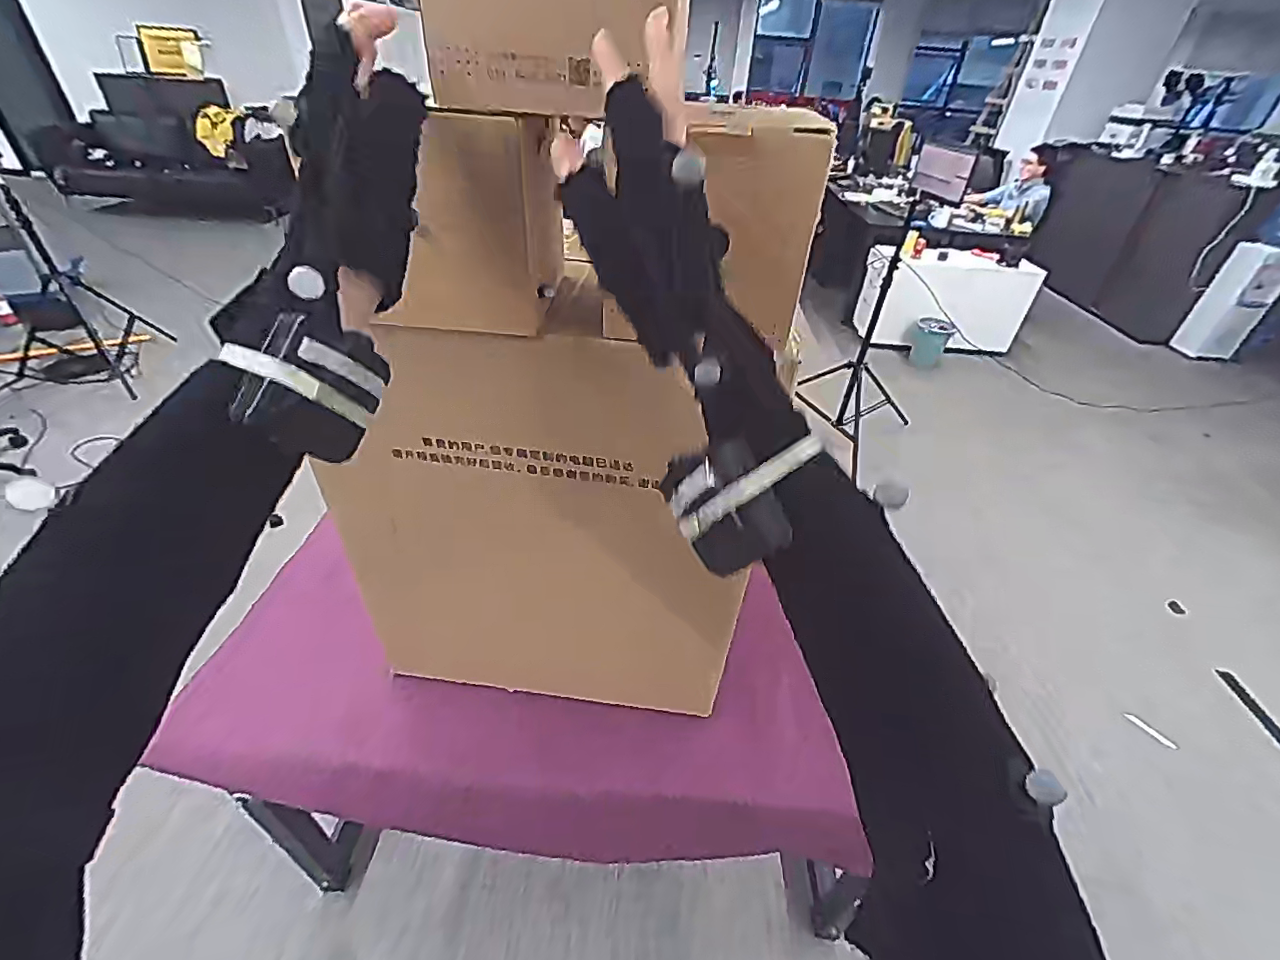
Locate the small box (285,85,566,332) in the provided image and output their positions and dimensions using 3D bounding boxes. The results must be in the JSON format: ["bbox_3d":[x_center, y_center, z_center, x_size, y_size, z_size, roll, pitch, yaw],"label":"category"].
[{"bbox_3d":[-0.166,-0.247,0.494,0.179,0.176,0.168,4,39,1],"label":"small box"}]

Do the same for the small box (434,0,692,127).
[{"bbox_3d":[-0.046,-0.368,0.396,0.168,0.176,0.179,7,38,2],"label":"small box"}]

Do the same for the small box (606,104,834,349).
[{"bbox_3d":[0.064,-0.235,0.498,0.168,0.176,0.179,7,39,3],"label":"small box"}]
